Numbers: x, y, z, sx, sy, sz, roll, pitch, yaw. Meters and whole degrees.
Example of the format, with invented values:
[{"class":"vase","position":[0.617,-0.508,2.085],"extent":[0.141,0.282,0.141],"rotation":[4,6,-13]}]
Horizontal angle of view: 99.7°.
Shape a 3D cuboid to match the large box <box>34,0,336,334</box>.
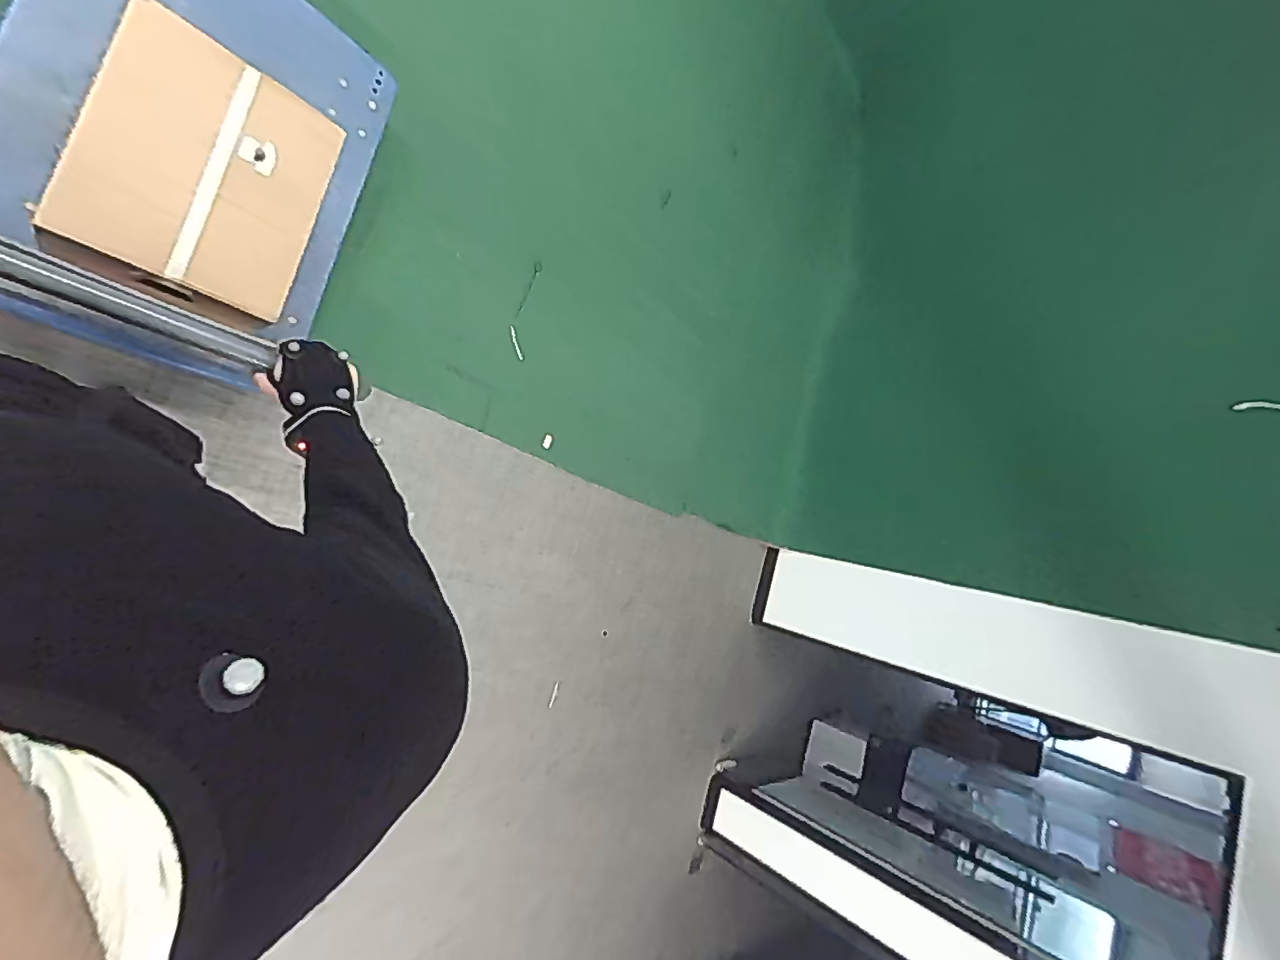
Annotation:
[{"class":"large box","position":[-0.836,-0.535,1.014],"extent":[0.320,0.320,0.408],"rotation":[22,79,-46]}]
